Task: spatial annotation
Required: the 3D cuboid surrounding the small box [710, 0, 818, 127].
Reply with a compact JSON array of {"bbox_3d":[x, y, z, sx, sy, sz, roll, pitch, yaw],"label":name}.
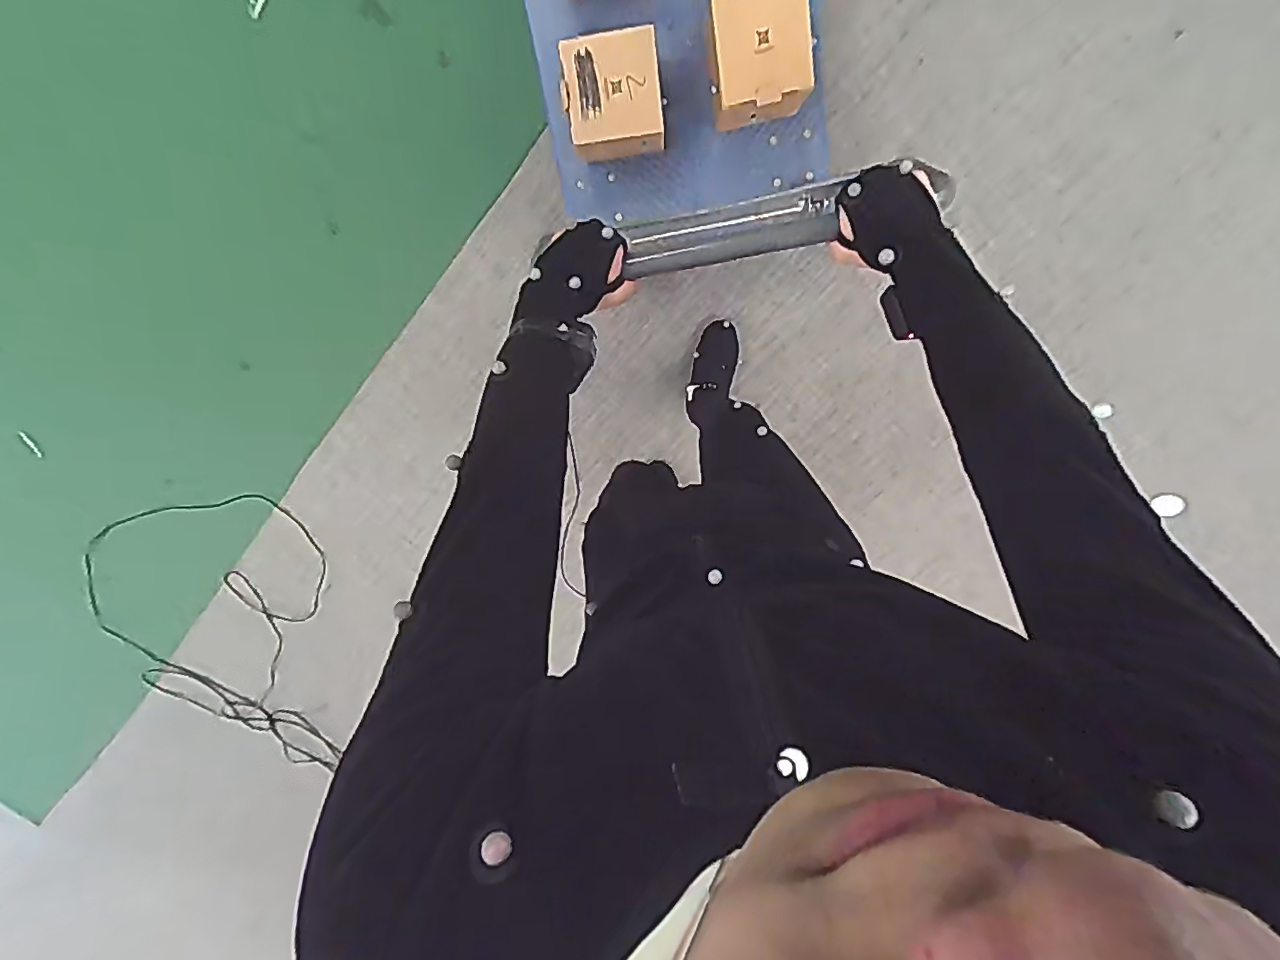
[{"bbox_3d":[0.227,-0.799,1.017,0.168,0.176,0.179,-9,111,7],"label":"small box"}]
